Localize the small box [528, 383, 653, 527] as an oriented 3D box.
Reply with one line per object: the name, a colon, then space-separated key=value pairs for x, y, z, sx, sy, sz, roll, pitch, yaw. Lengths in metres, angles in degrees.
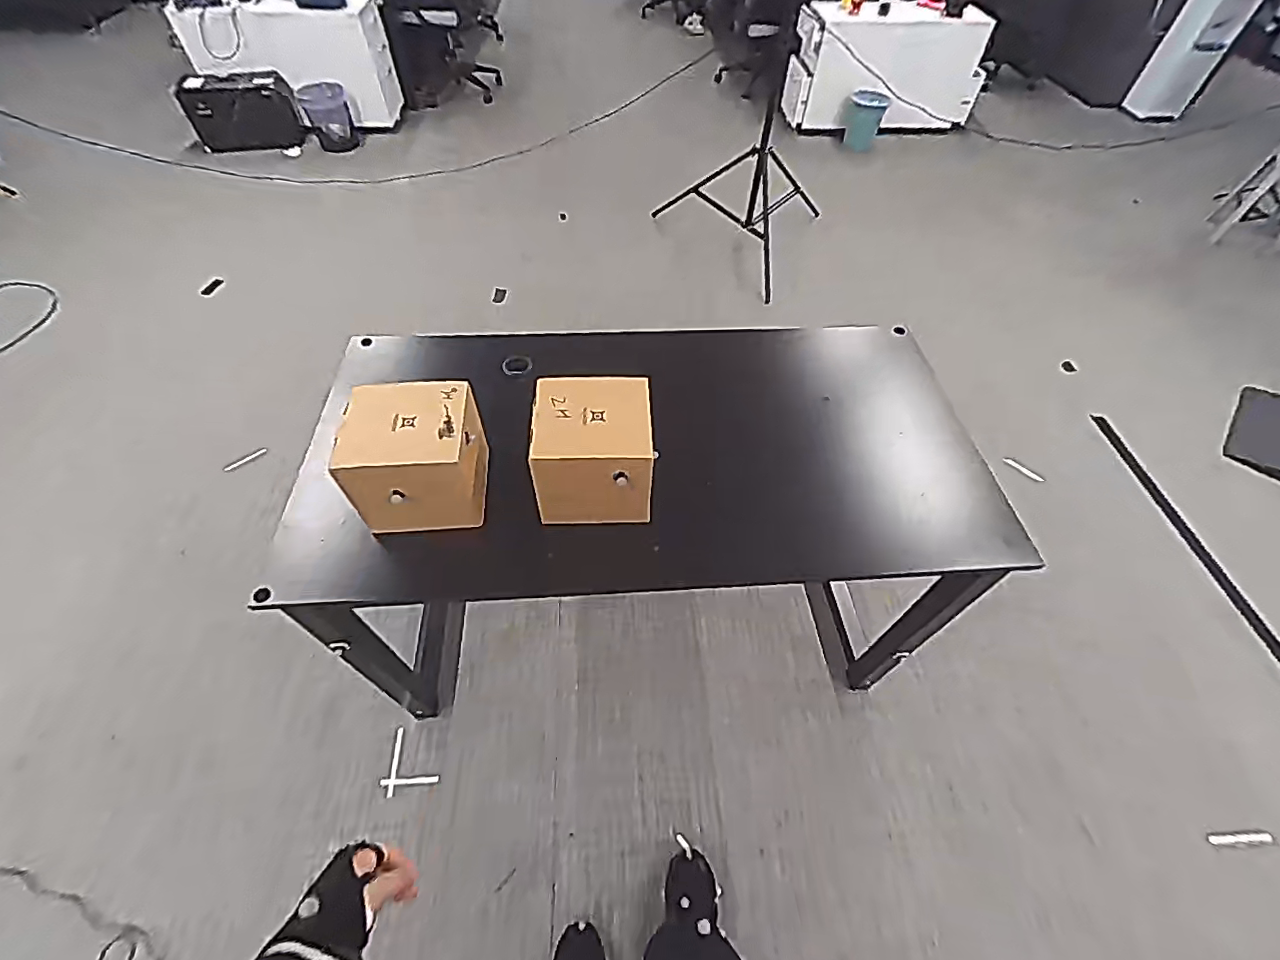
small box: x=-0.074 y=-0.036 z=0.865 sx=0.179 sy=0.176 sz=0.168 roll=-1 pitch=52 yaw=-2

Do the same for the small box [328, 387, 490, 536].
small box: x=-0.347 y=-0.024 z=0.849 sx=0.179 sy=0.176 sz=0.168 roll=-4 pitch=53 yaw=-4
